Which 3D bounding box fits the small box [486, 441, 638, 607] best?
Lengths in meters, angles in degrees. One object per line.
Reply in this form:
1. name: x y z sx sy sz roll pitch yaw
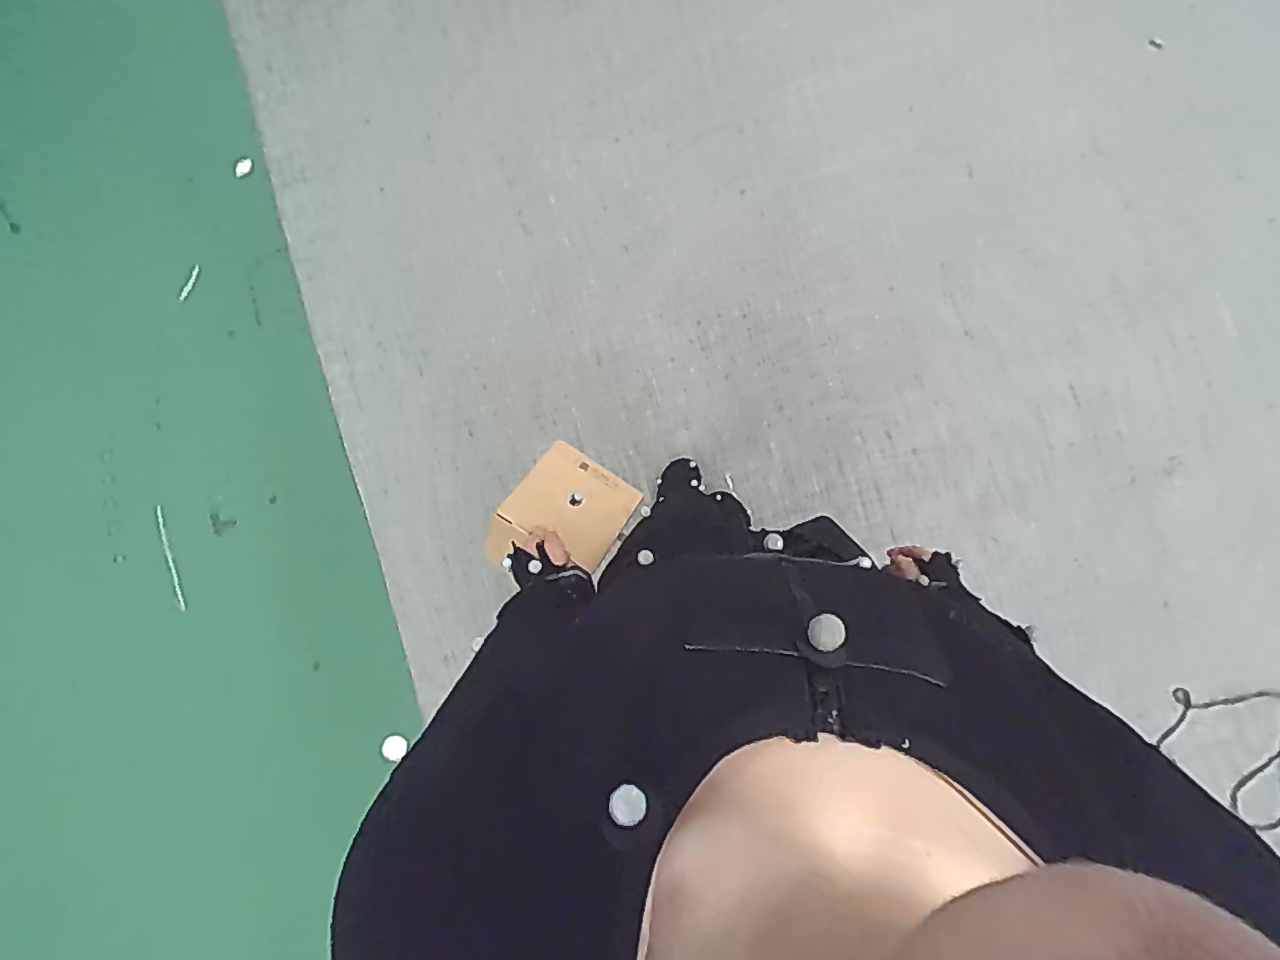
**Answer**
1. small box: -0.122 0.069 0.872 0.168 0.179 0.176 33 52 0
